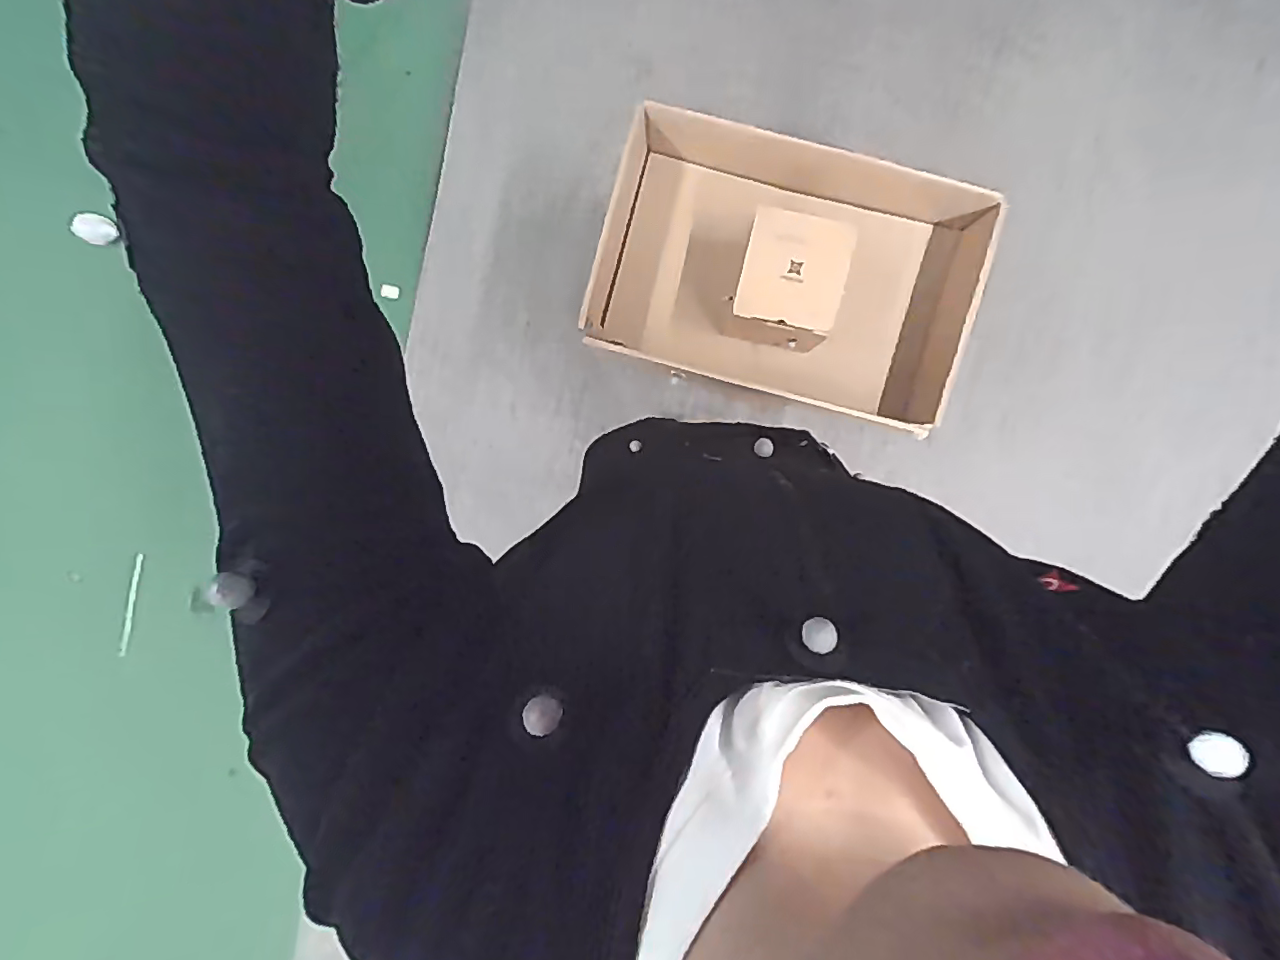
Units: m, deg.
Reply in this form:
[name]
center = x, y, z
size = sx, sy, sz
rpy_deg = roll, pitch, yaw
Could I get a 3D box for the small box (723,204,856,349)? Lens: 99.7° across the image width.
[small box]
center = 0.246, -0.338, 0.937
size = 0.168, 0.176, 0.179
rpy_deg = 13, 93, 0
